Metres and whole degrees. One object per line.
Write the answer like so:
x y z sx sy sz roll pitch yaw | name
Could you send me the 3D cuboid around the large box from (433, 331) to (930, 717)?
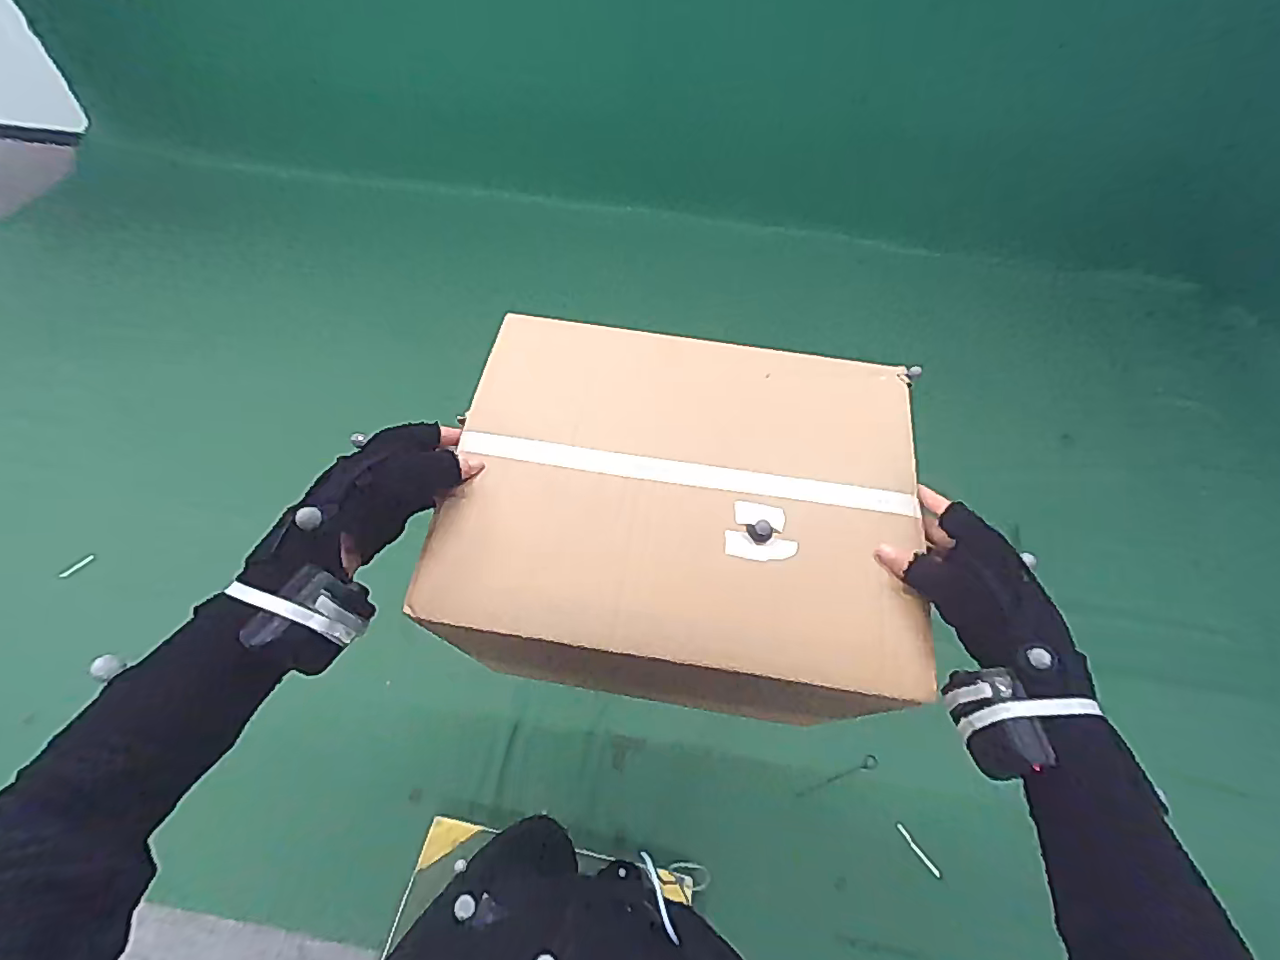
0.042 0.070 0.622 0.408 0.320 0.320 9 63 2 | large box
